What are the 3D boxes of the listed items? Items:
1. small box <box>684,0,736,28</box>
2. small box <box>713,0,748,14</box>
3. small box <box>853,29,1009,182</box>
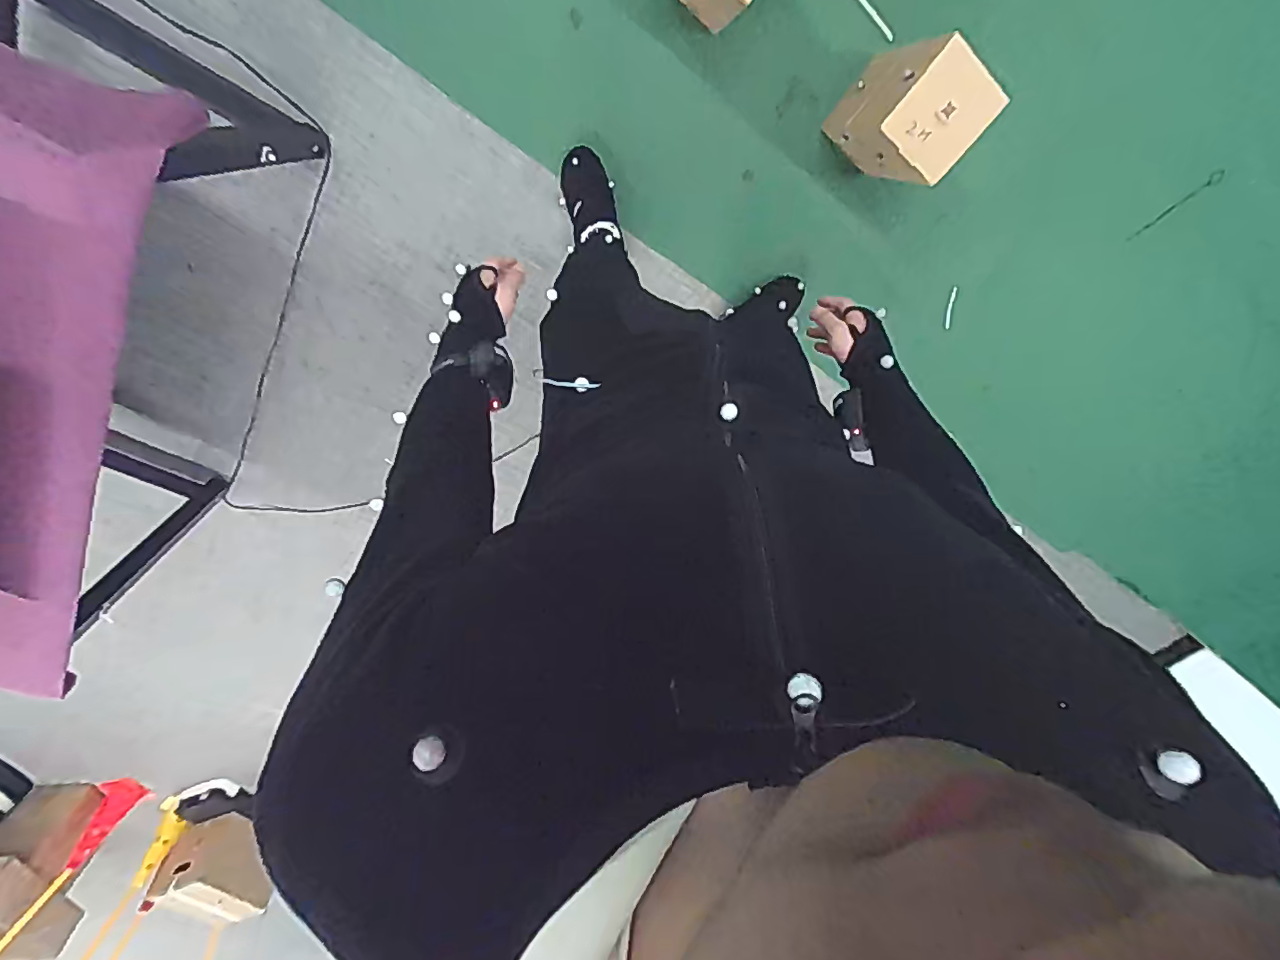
[{"bbox_3d":[0.151,-1.019,1.032,0.168,0.176,0.179,29,118,-20],"label":"small box"},{"bbox_3d":[0.158,-0.929,0.895,0.168,0.176,0.179,29,117,-21],"label":"small box"},{"bbox_3d":[0.553,-0.720,1.053,0.168,0.176,0.179,30,117,-21],"label":"small box"}]
